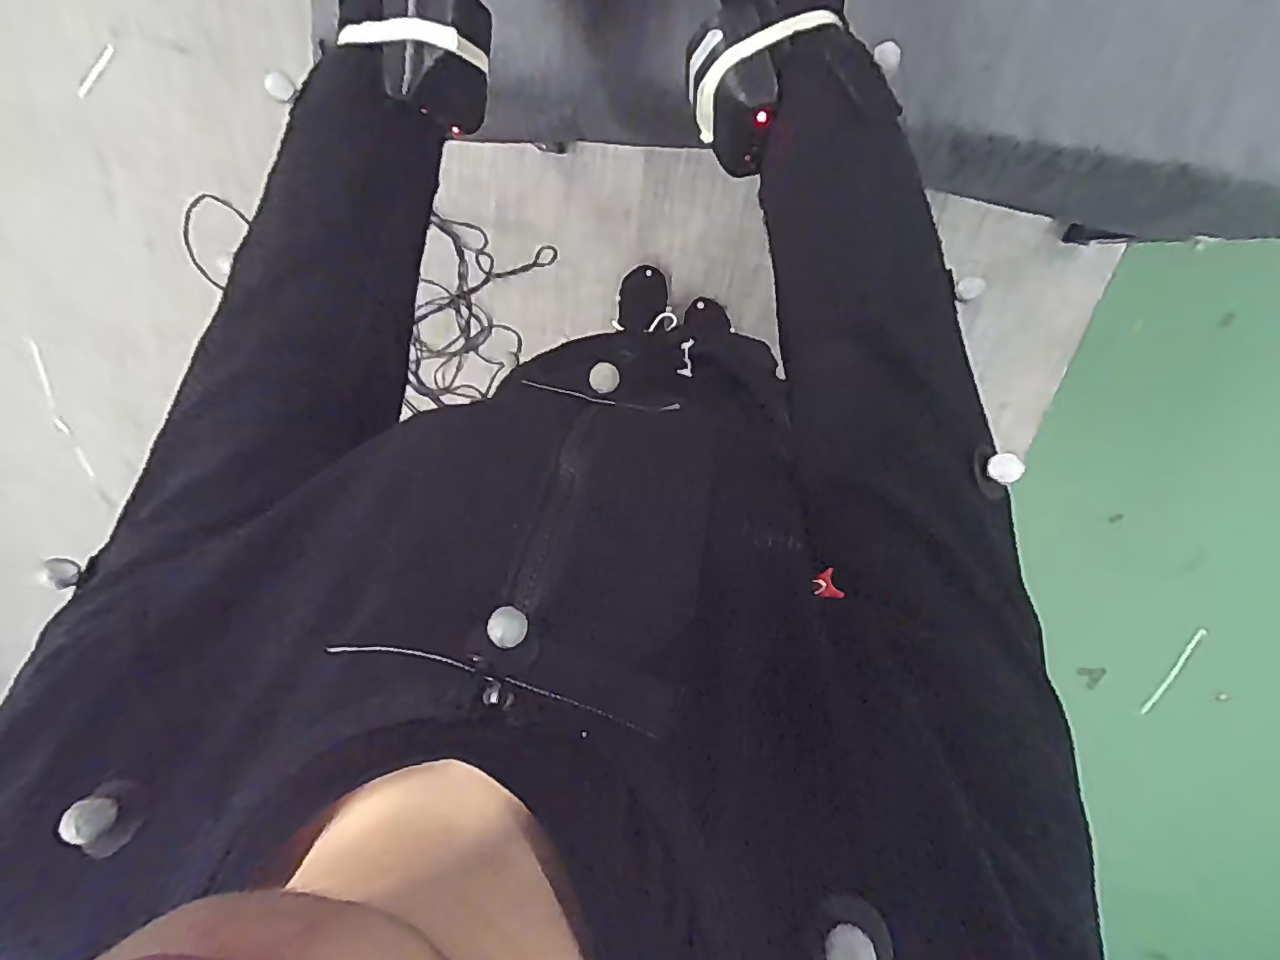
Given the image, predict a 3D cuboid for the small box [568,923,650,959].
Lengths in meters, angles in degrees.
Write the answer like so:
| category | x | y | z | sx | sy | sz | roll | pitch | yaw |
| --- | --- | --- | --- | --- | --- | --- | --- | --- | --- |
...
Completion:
| category | x | y | z | sx | sy | sz | roll | pitch | yaw |
| --- | --- | --- | --- | --- | --- | --- | --- | --- | --- |
| small box | -0.077 | 1.072 | 1.117 | 0.168 | 0.176 | 0.179 | 12 | 113 | 0 |
